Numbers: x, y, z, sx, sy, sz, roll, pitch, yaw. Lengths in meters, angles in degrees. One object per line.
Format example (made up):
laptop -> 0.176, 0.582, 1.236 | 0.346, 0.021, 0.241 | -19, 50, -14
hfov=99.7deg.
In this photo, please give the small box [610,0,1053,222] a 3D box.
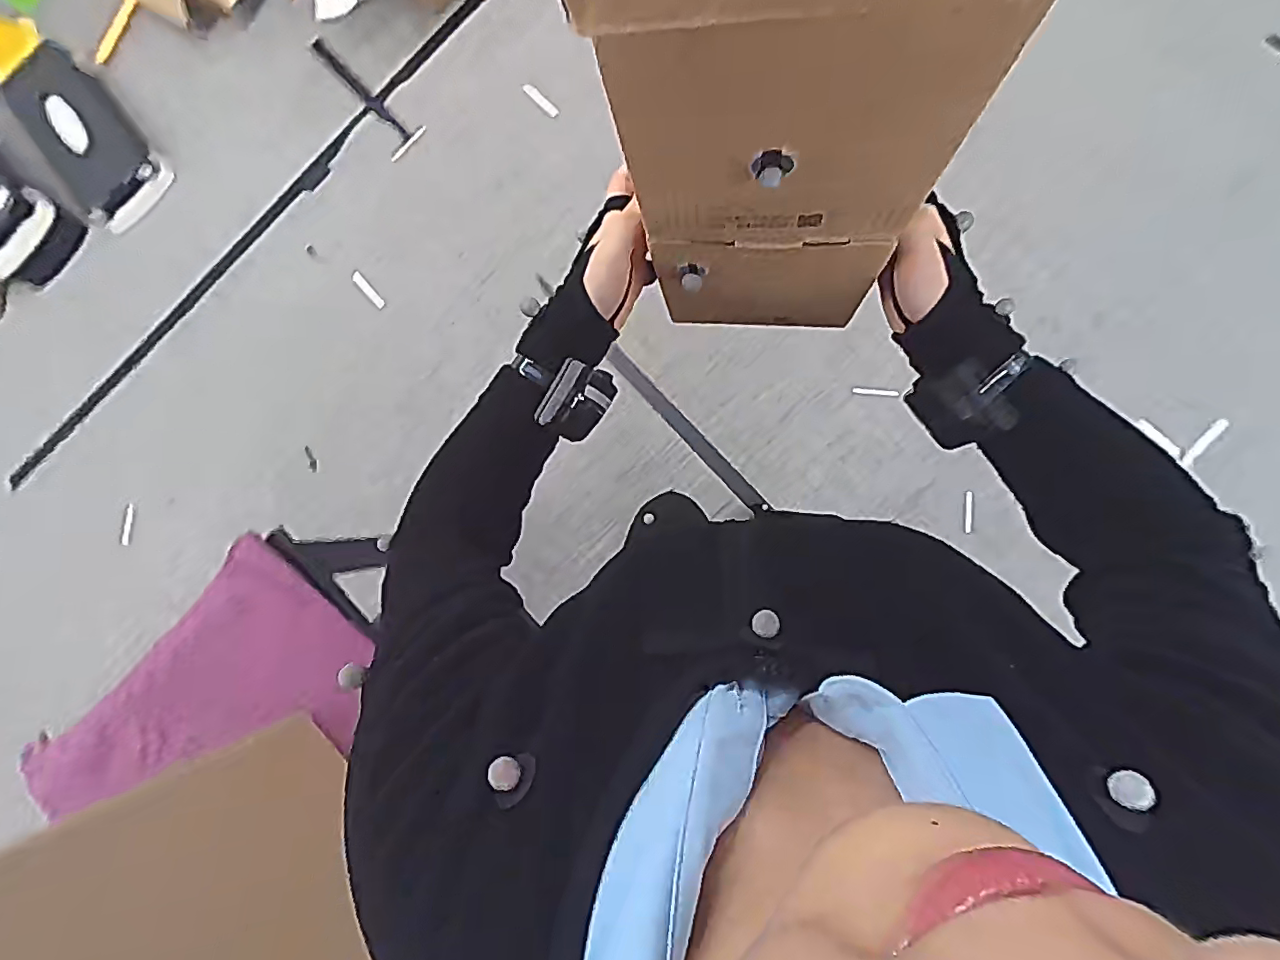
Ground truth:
small box -> 0.088, -0.251, 0.270 | 0.168, 0.176, 0.179 | 4, 87, 9
